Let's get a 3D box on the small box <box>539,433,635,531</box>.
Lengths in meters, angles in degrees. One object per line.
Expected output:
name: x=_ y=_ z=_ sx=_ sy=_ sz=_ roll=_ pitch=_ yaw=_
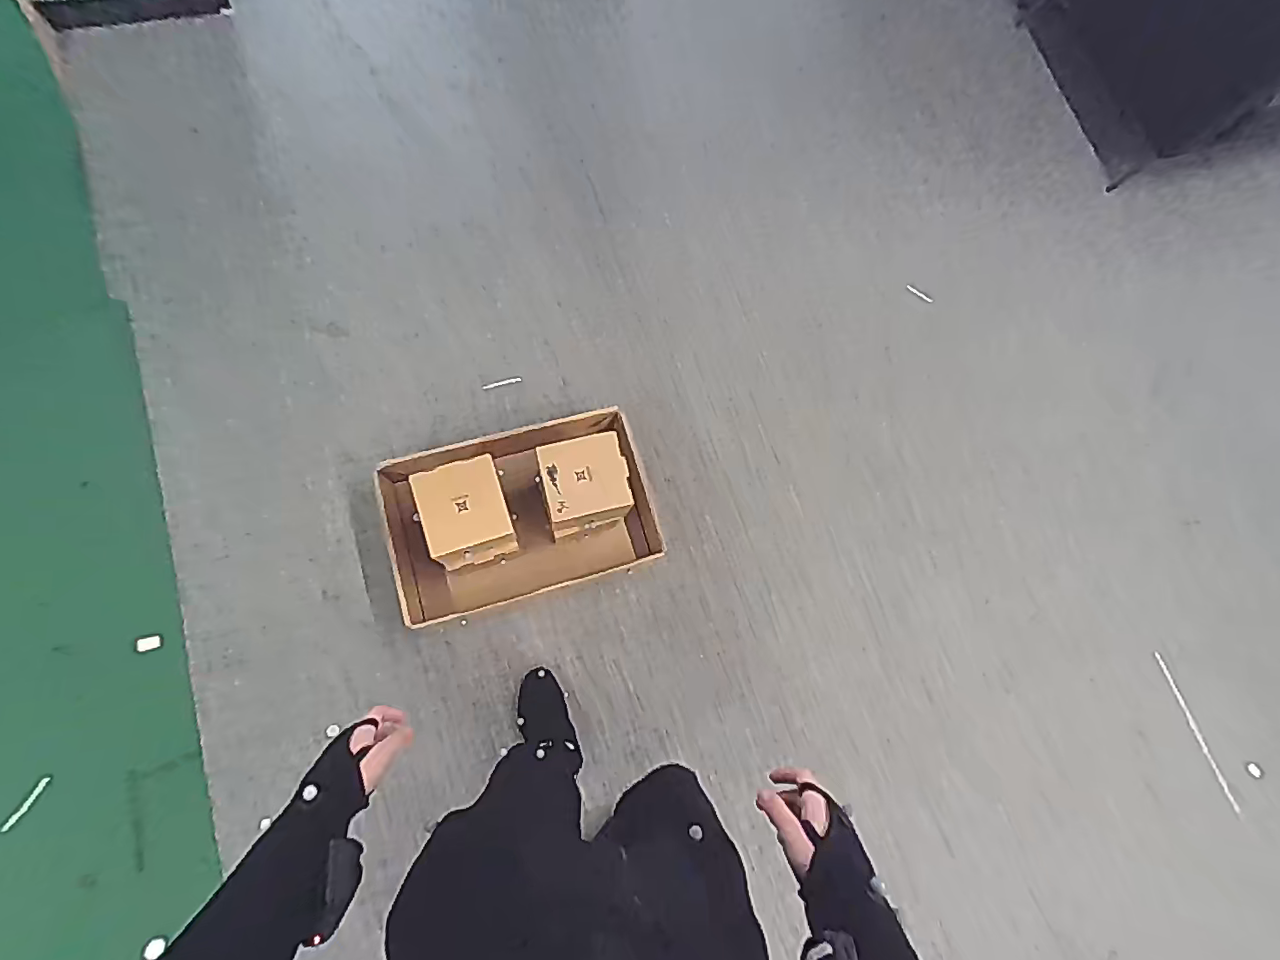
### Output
small box: x=-0.124 y=0.009 z=1.205 sx=0.179 sy=0.176 sz=0.168 roll=-12 pitch=79 yaw=-11

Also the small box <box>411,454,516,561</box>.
small box: x=-0.369 y=0.067 z=1.158 sx=0.168 sy=0.176 sz=0.179 roll=-17 pitch=79 yaw=-14
